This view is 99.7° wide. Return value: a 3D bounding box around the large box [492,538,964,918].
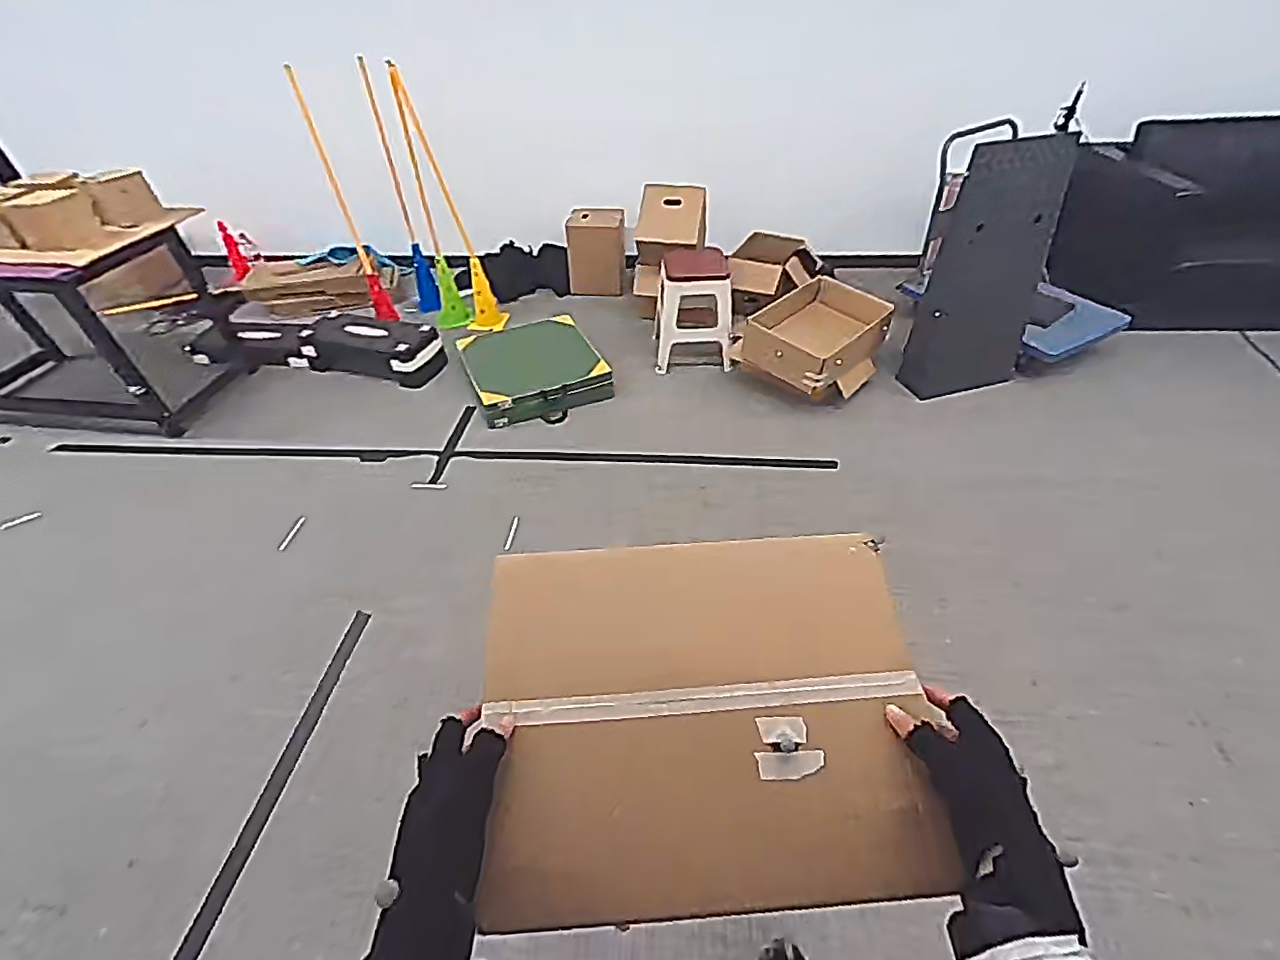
[{"bbox_3d":[0.063,0.285,0.646,0.408,0.320,0.320,-3,60,-2],"label":"large box"}]
